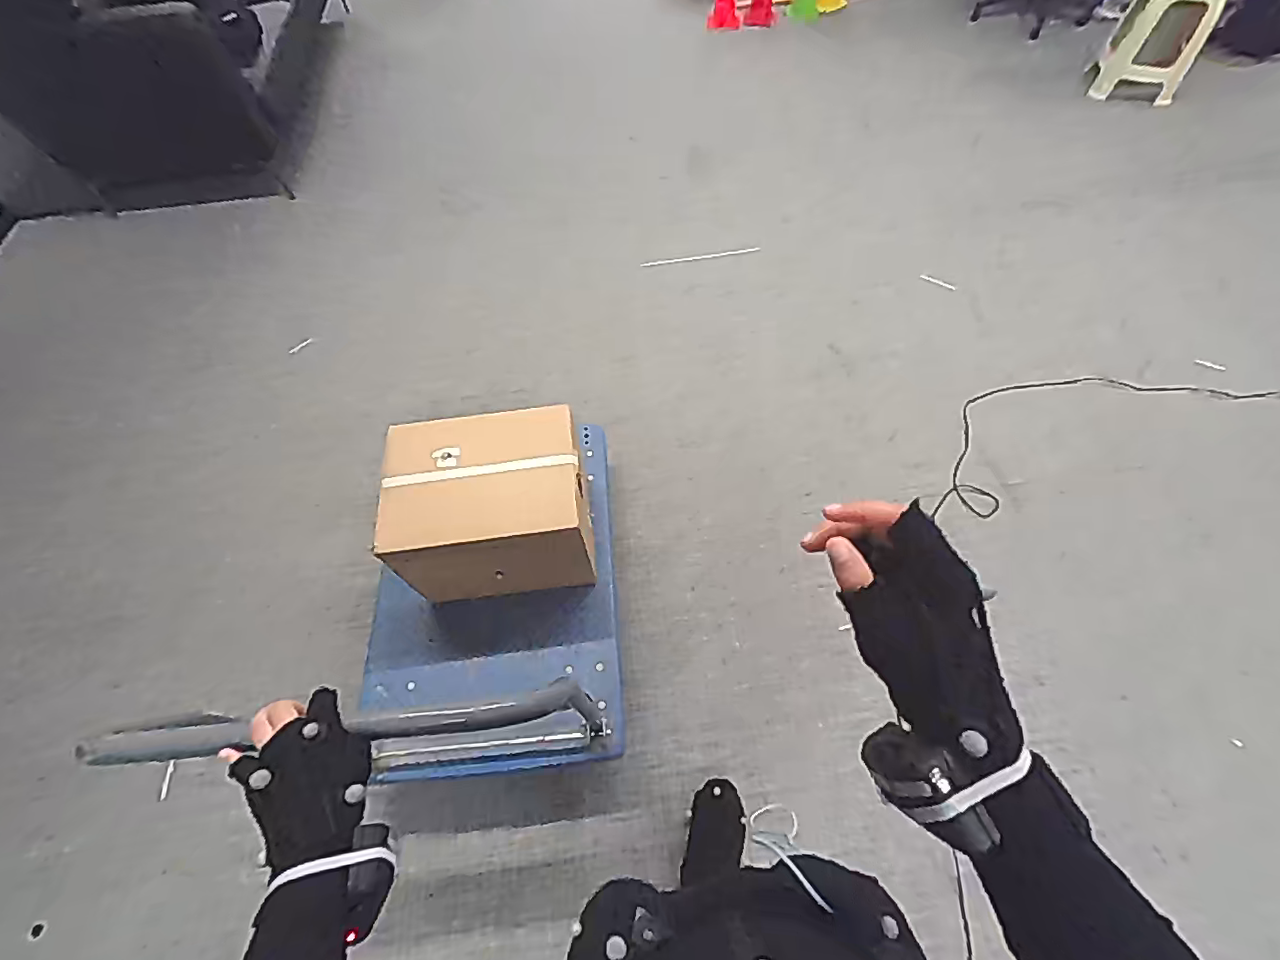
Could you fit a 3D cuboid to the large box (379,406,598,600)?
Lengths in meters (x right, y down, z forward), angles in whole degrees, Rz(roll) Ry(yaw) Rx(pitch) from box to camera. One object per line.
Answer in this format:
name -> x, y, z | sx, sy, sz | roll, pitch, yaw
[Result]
large box -> -0.327, 0.065, 1.266 | 0.408, 0.320, 0.320 | -8, 58, -1
